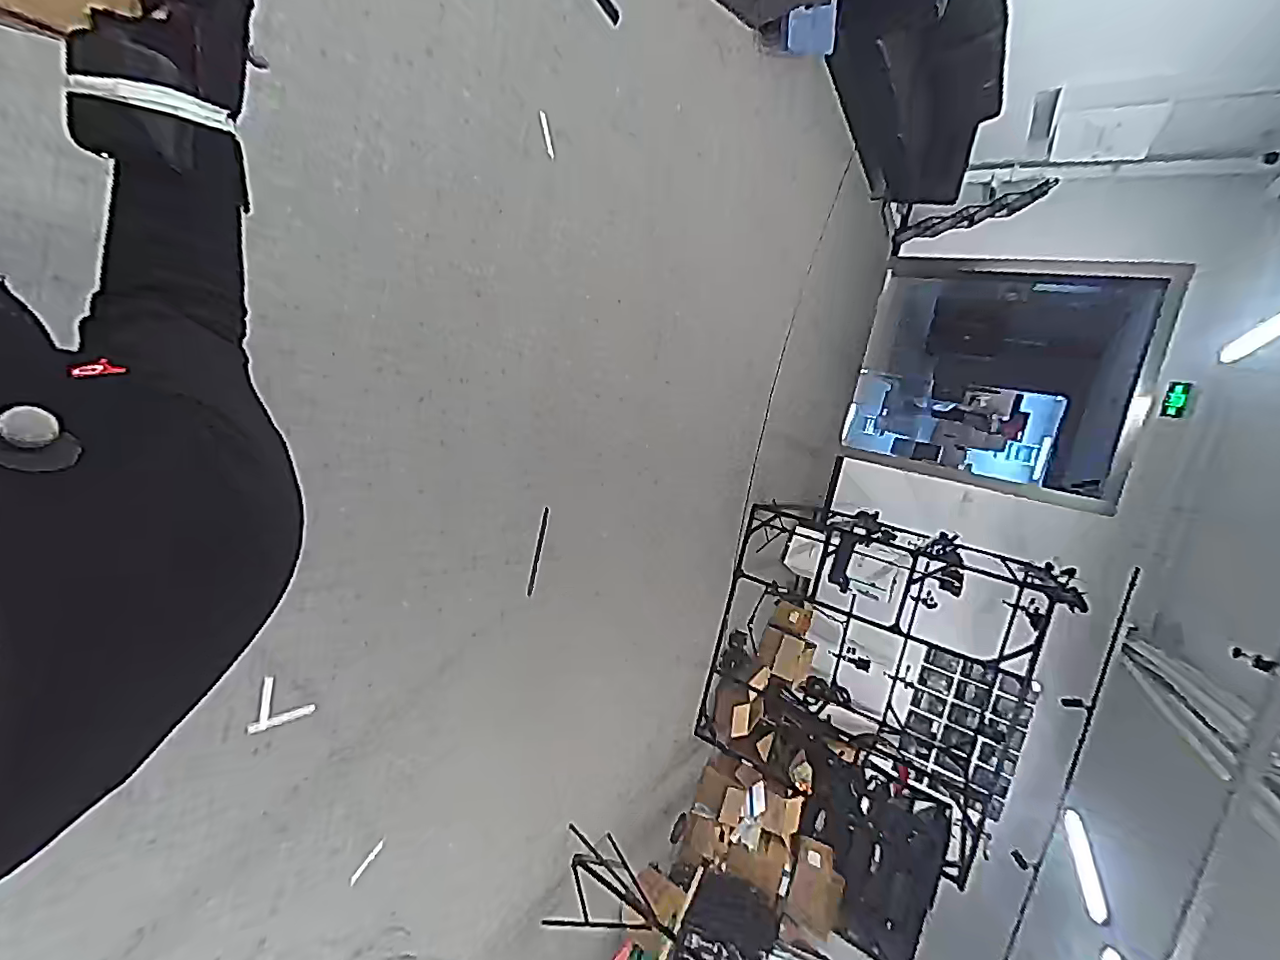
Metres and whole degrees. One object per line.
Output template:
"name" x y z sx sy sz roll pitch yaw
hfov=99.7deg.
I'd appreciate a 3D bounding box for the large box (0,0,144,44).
"large box" -0.504 -0.458 0.204 0.408 0.320 0.320 -12 128 -56
